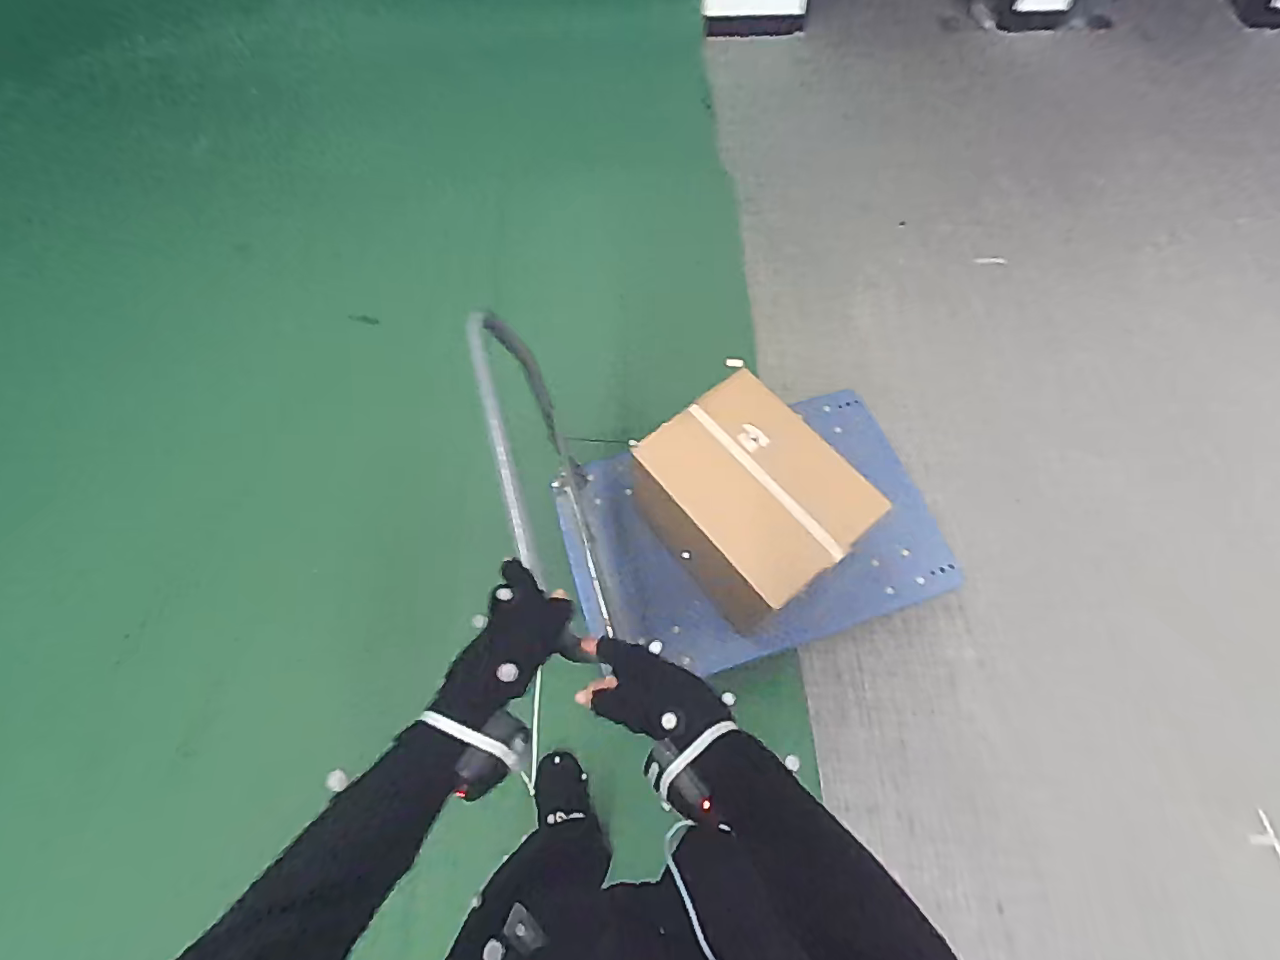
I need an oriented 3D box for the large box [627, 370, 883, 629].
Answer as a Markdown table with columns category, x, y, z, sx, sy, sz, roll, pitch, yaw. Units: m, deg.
| category | x | y | z | sx | sy | sz | roll | pitch | yaw |
| --- | --- | --- | --- | --- | --- | --- | --- | --- | --- |
| large box | 0.219 | 0.052 | 1.171 | 0.320 | 0.320 | 0.408 | -35 | 69 | -15 |
